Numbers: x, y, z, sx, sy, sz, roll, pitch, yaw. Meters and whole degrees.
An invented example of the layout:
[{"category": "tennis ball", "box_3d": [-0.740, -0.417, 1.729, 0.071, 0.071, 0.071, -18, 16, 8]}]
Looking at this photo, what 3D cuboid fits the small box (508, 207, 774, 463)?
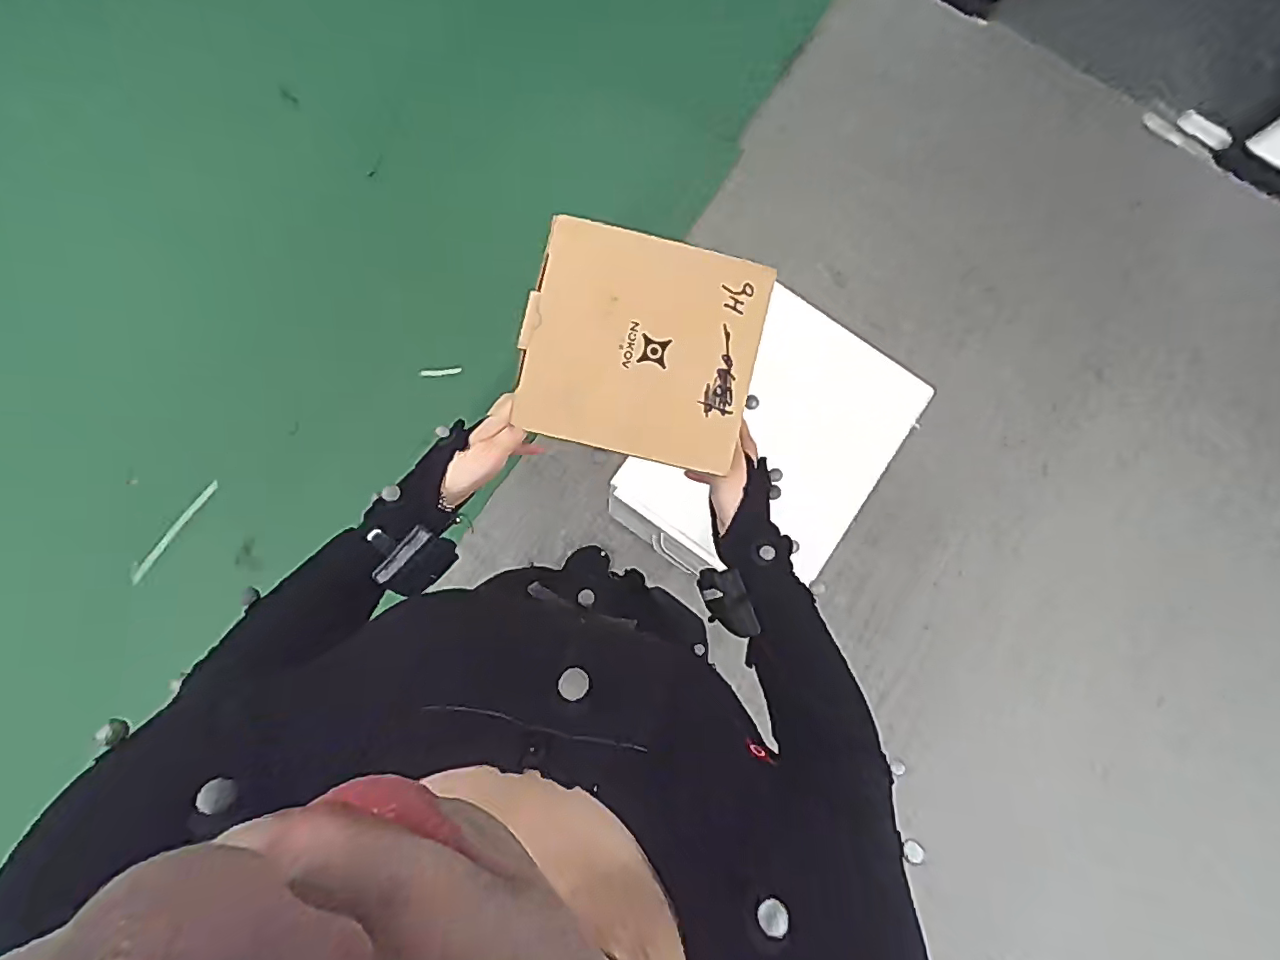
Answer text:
[{"category": "small box", "box_3d": [-0.003, -0.112, 0.491, 0.179, 0.176, 0.168, 13, 92, -3]}]
